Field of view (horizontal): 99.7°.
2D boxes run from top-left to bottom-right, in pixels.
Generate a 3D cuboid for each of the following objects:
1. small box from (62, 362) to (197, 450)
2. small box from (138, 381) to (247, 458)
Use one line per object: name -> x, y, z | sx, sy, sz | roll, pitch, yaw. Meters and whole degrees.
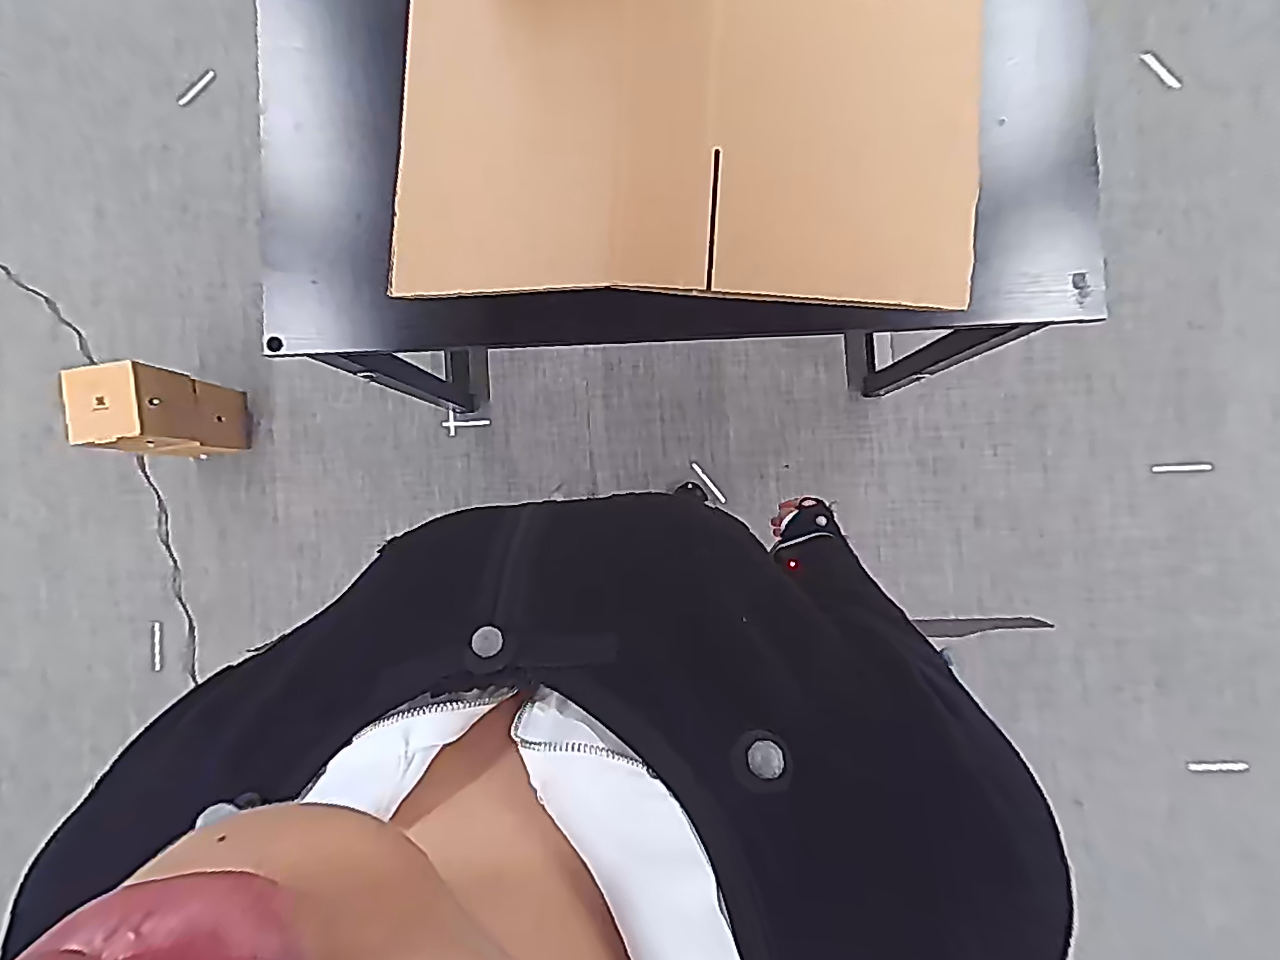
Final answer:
small box -> -1.209, -0.168, 1.294 | 0.168, 0.176, 0.179 | -9, 87, 0
small box -> -1.203, -0.159, 1.457 | 0.168, 0.176, 0.179 | -6, 89, 2
